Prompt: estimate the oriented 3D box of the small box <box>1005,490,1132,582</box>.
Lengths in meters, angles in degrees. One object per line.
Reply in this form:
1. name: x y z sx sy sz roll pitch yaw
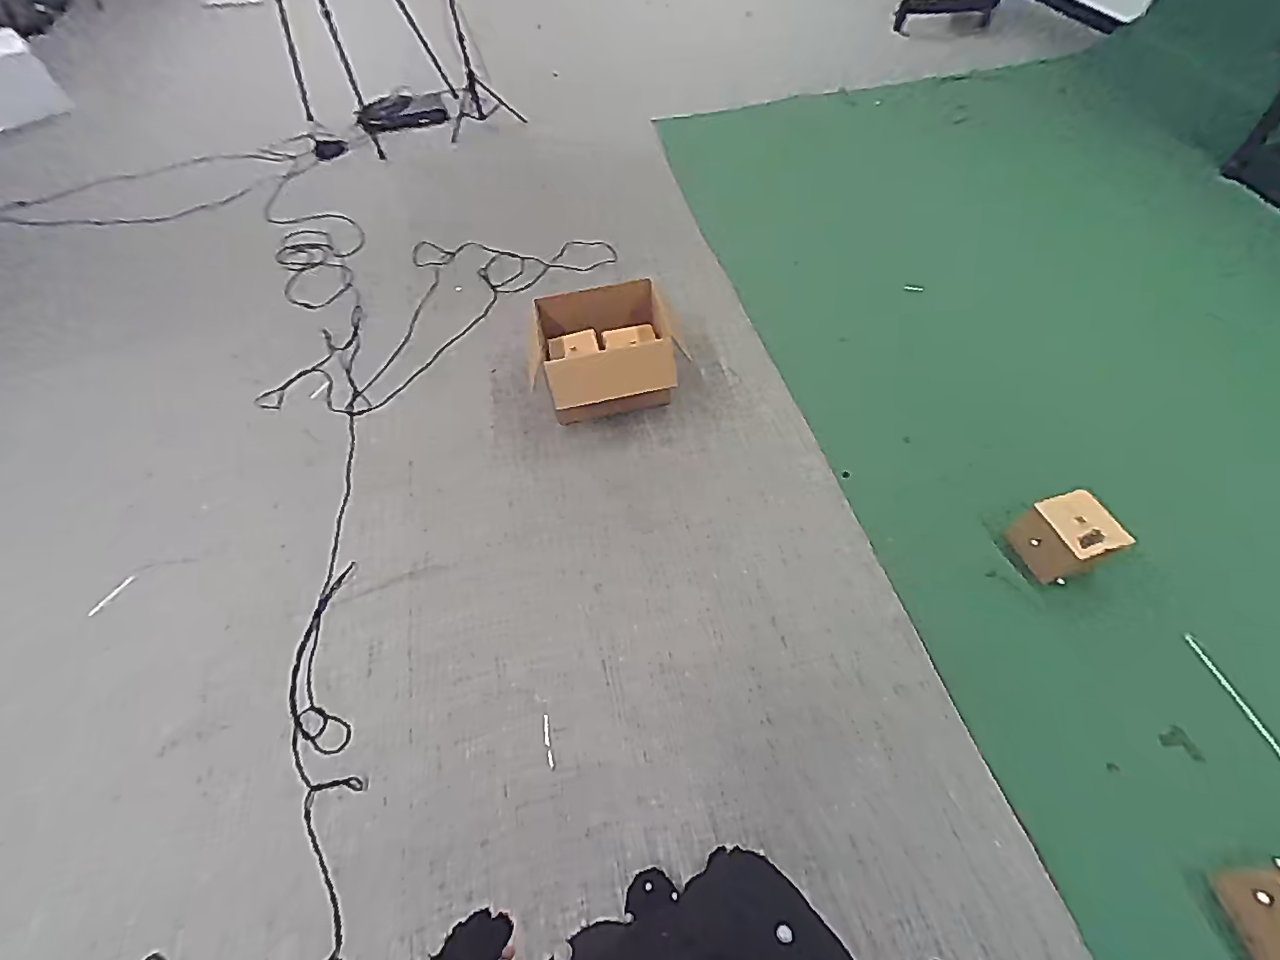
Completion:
1. small box: 1.150 0.160 1.468 0.168 0.176 0.179 -15 56 -7
